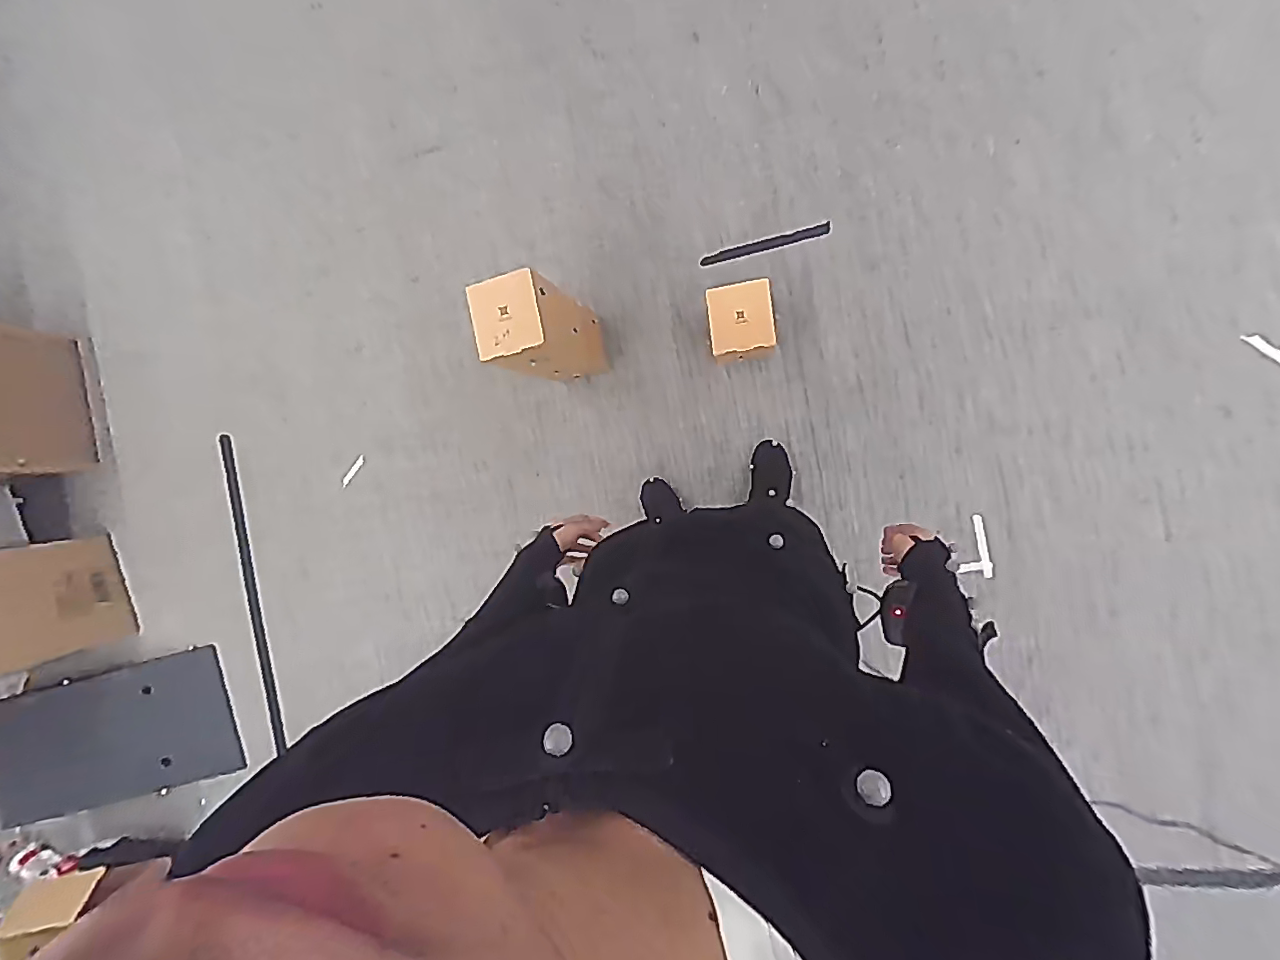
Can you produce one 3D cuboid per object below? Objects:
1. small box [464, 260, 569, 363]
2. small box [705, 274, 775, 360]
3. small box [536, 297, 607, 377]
[{"bbox_3d":[-0.284,-0.387,1.276,0.168,0.176,0.179,-11,92,14],"label":"small box"},{"bbox_3d":[0.274,-0.440,1.485,0.168,0.176,0.179,-7,93,13],"label":"small box"},{"bbox_3d":[-0.208,-0.414,1.593,0.168,0.176,0.179,-11,91,14],"label":"small box"}]
